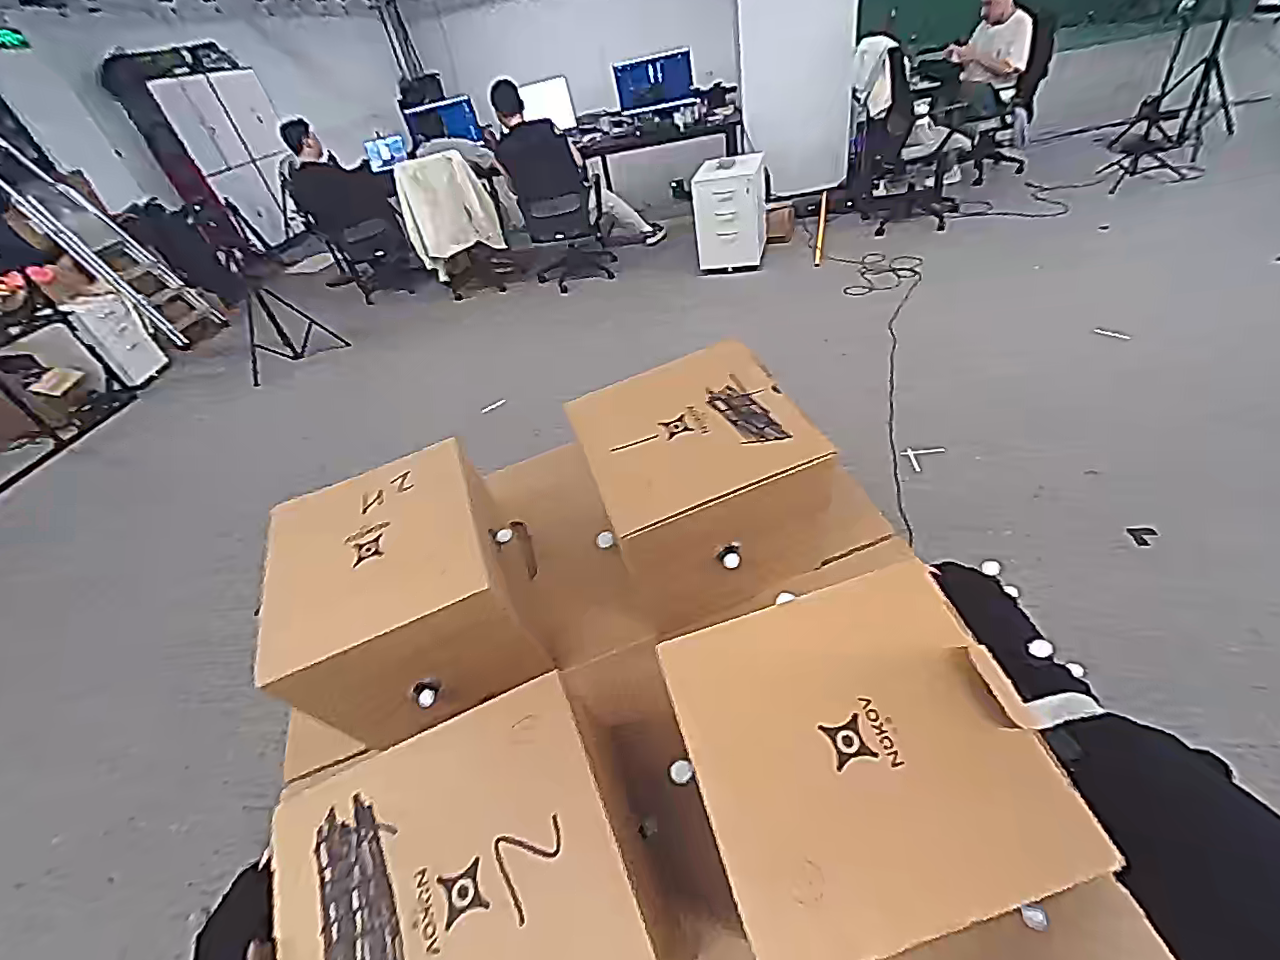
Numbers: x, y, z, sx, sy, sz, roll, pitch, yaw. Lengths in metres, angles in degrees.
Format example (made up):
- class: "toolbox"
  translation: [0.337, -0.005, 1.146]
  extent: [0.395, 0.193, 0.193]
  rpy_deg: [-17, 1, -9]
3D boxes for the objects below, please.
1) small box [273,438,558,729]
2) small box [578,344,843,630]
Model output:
- class: "small box"
  translation: [-0.186, 0.100, 0.487]
  extent: [0.168, 0.176, 0.179]
  rpy_deg: [-21, 48, -6]
- class: "small box"
  translation: [0.061, 0.010, 0.504]
  extent: [0.179, 0.176, 0.168]
  rpy_deg: [-21, 49, -3]
